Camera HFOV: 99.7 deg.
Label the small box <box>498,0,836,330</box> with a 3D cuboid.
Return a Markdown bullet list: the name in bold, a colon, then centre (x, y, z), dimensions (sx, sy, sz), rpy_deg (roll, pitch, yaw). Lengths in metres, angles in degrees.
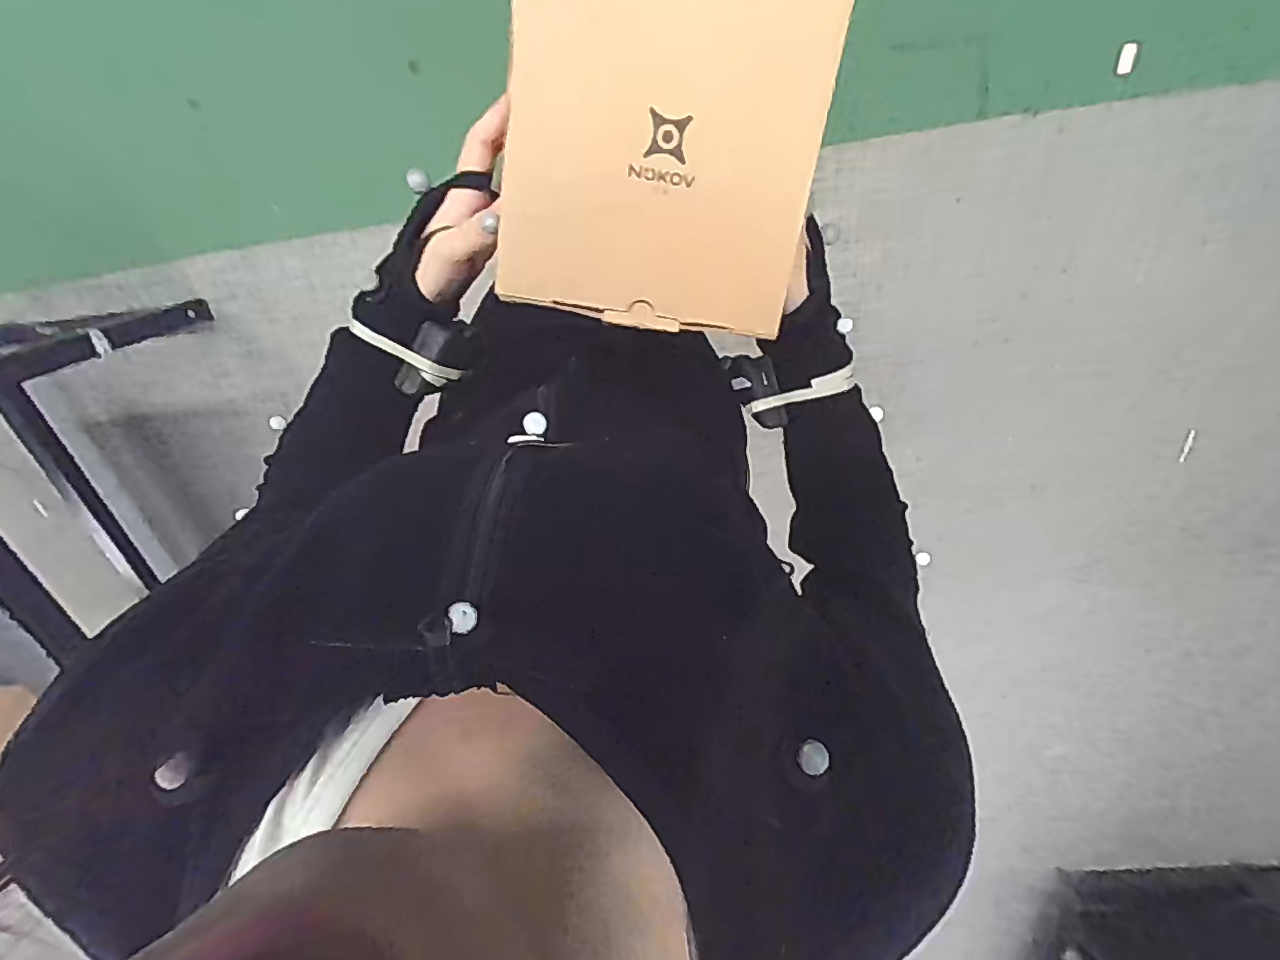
- **small box**: centre (0.001, -0.206, 0.361), dimensions (0.168, 0.176, 0.179), rpy_deg (4, 111, -8)
